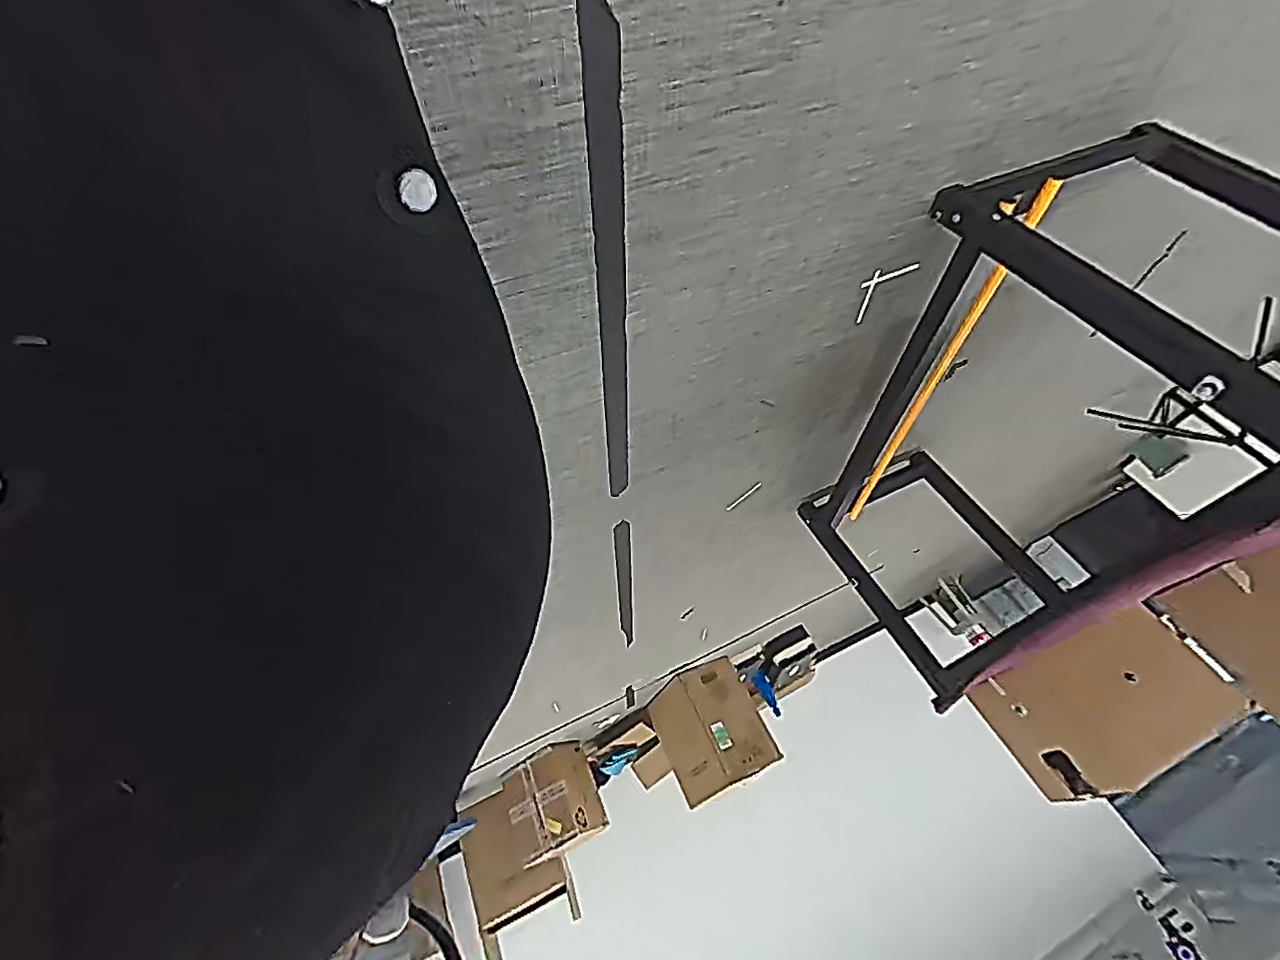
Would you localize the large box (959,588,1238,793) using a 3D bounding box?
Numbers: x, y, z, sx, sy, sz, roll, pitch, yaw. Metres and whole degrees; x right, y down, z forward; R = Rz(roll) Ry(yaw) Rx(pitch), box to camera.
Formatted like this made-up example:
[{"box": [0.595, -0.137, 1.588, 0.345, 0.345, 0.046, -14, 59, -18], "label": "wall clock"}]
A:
[{"box": [1.154, 0.548, 1.411, 0.408, 0.320, 0.320, -23, 149, -14], "label": "large box"}]
